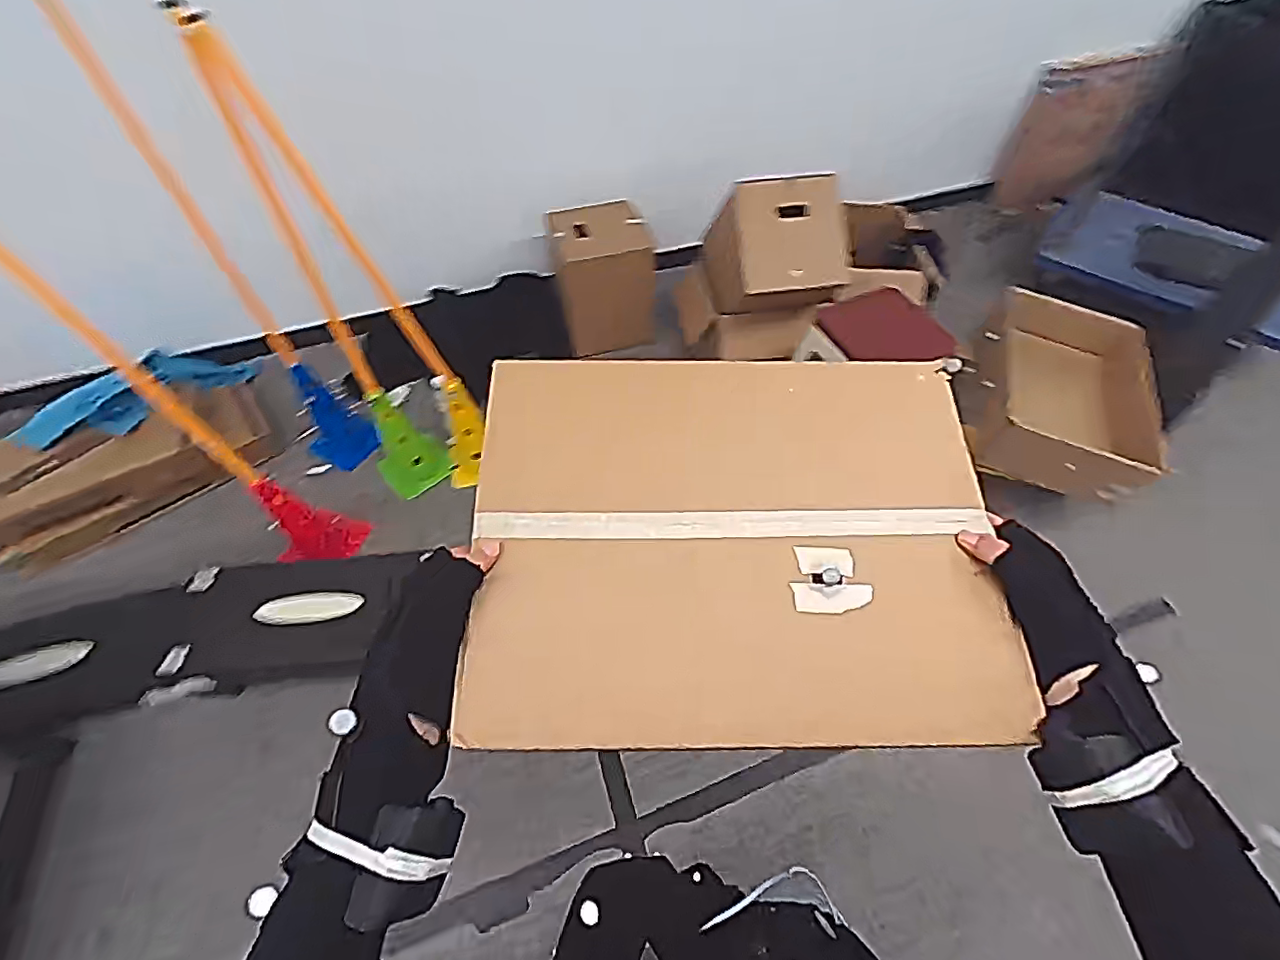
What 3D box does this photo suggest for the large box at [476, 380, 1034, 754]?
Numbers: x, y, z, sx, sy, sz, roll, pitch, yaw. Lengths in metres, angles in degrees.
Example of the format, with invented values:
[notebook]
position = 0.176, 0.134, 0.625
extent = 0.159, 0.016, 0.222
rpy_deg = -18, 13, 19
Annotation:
[large box]
position = 0.079, 0.109, 0.575
extent = 0.408, 0.320, 0.320
rpy_deg = 1, 67, 0
